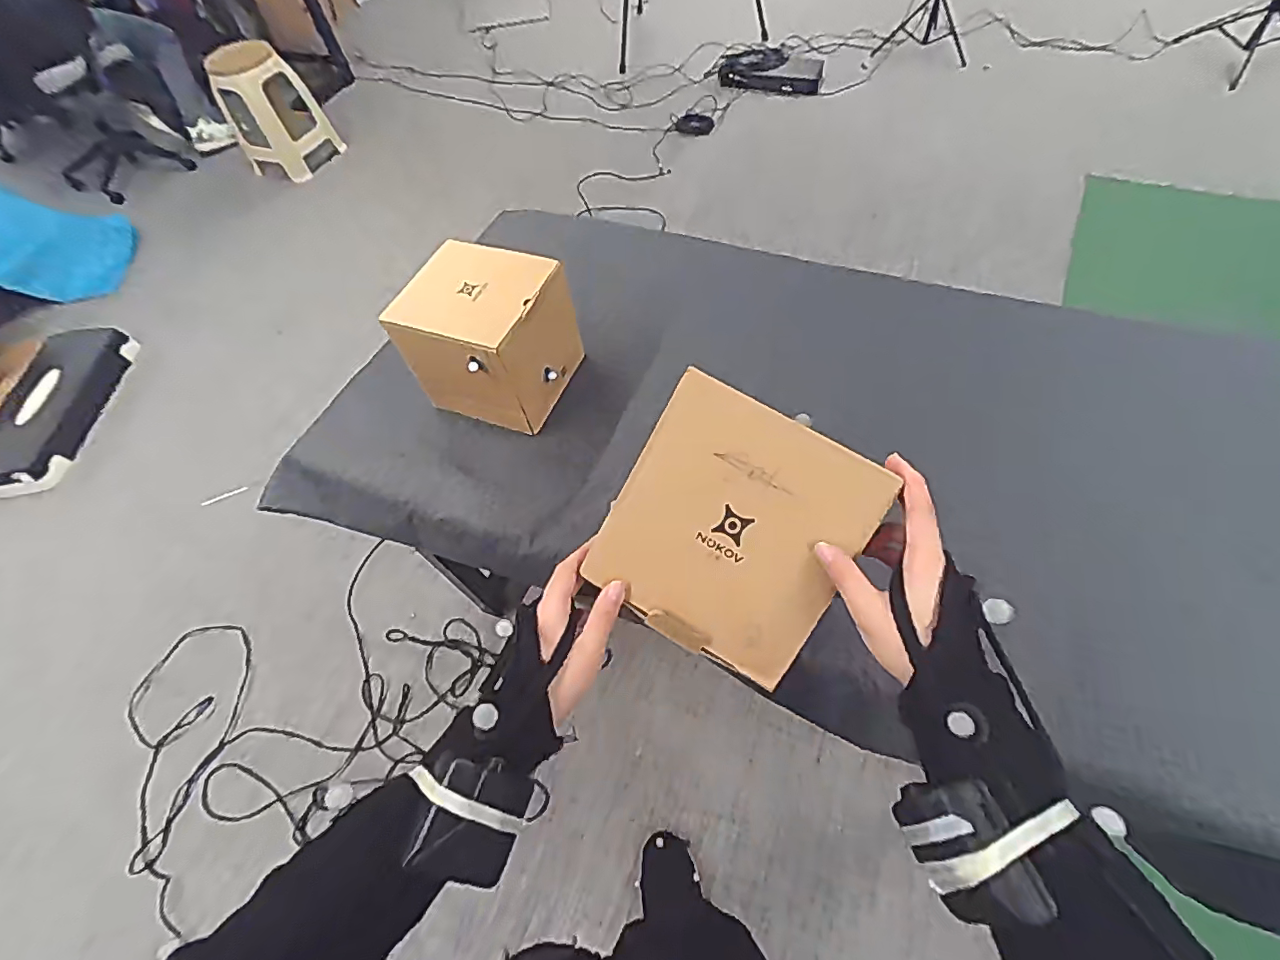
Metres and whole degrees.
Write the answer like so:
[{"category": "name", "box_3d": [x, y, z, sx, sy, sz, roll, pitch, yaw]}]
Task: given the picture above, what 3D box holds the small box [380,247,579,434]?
[{"category": "small box", "box_3d": [-0.204, -0.186, 0.740, 0.179, 0.176, 0.168, 17, 61, 15]}]
